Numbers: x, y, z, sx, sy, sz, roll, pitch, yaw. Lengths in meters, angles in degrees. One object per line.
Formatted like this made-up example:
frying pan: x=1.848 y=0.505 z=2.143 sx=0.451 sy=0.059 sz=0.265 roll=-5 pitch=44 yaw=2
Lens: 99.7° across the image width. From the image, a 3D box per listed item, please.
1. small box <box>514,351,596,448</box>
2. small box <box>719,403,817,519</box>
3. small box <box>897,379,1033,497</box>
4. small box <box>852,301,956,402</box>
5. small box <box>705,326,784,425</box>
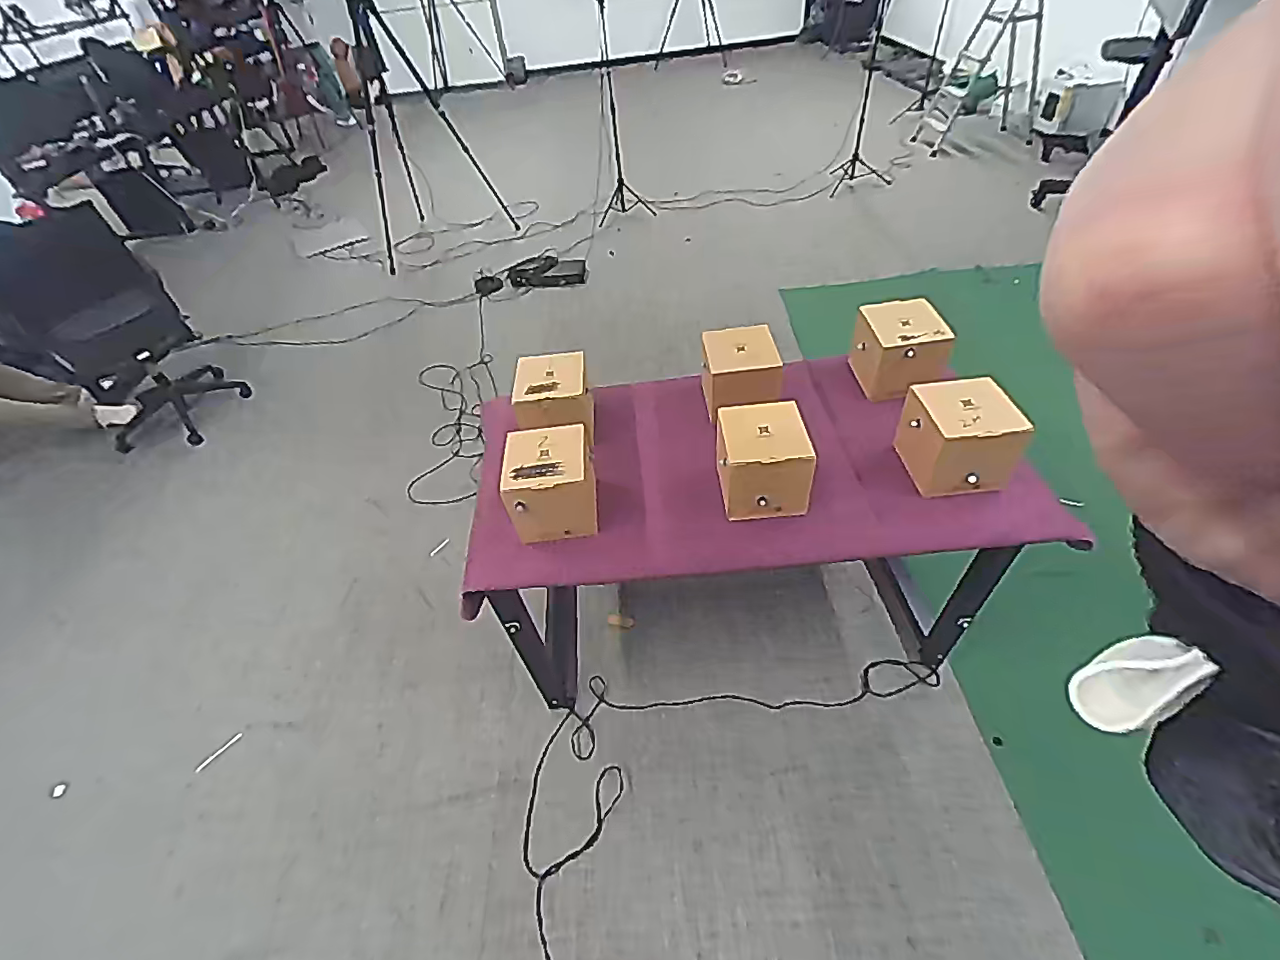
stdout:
small box: x=-0.202 y=-0.192 z=1.337 sx=0.168 sy=0.176 sz=0.179 roll=-5 pitch=47 yaw=2
small box: x=0.259 y=-0.040 z=1.141 sx=0.168 sy=0.176 sz=0.179 roll=-5 pitch=46 yaw=2
small box: x=0.660 y=-0.086 z=1.127 sx=0.168 sy=0.176 sz=0.179 roll=-5 pitch=45 yaw=4
small box: x=0.645 y=-0.319 z=1.348 sx=0.168 sy=0.176 sz=0.179 roll=-7 pitch=48 yaw=3
small box: x=0.251 y=-0.259 z=1.347 sx=0.168 sy=0.176 sz=0.179 roll=-5 pitch=48 yaw=3
